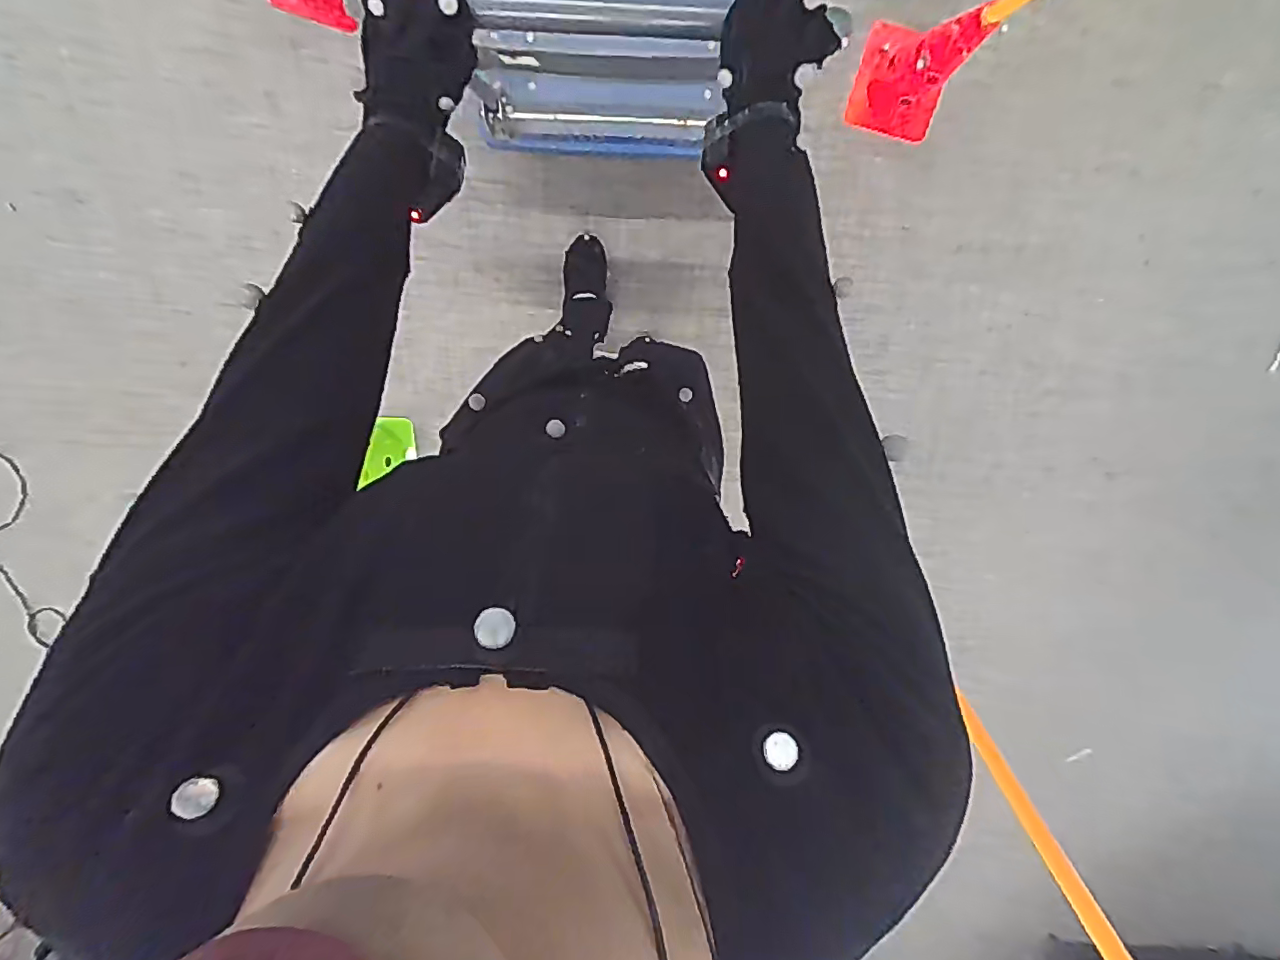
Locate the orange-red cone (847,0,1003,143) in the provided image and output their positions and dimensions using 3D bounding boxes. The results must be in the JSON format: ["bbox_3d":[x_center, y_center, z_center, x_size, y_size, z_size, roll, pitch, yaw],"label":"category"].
[{"bbox_3d":[0.584,-0.830,1.056,0.198,0.360,0.199,14,110,-5],"label":"orange-red cone"}]
